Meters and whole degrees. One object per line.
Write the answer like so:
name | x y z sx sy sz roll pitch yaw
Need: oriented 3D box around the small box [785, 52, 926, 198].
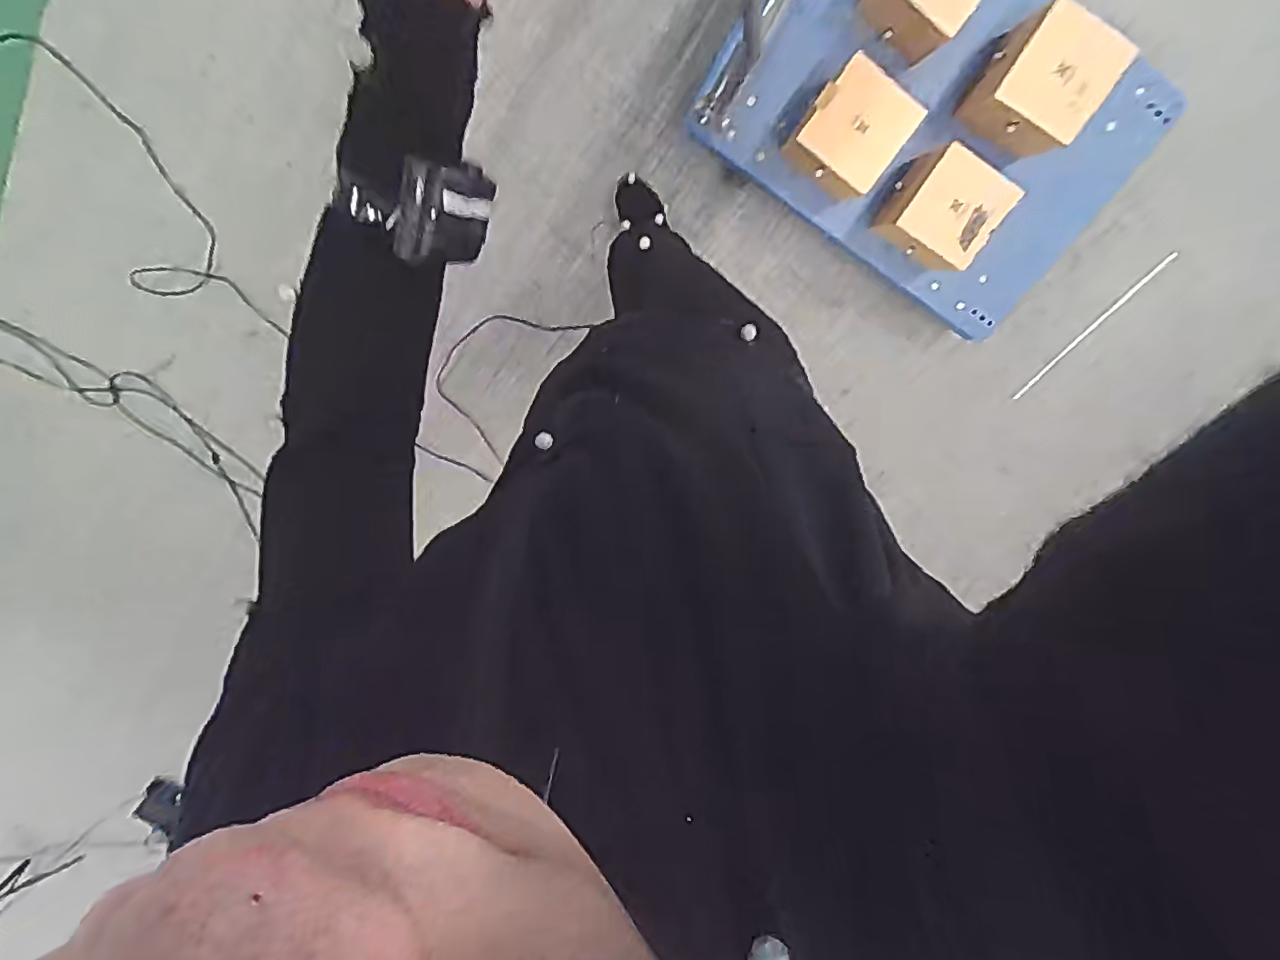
small box | 0.416 -0.688 1.075 0.179 0.176 0.168 34 111 -10

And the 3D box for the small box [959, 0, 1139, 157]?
small box | 0.758 -0.745 1.028 0.179 0.176 0.168 28 112 -8

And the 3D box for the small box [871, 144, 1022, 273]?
small box | 0.620 -0.551 1.117 0.179 0.176 0.168 31 110 -8
